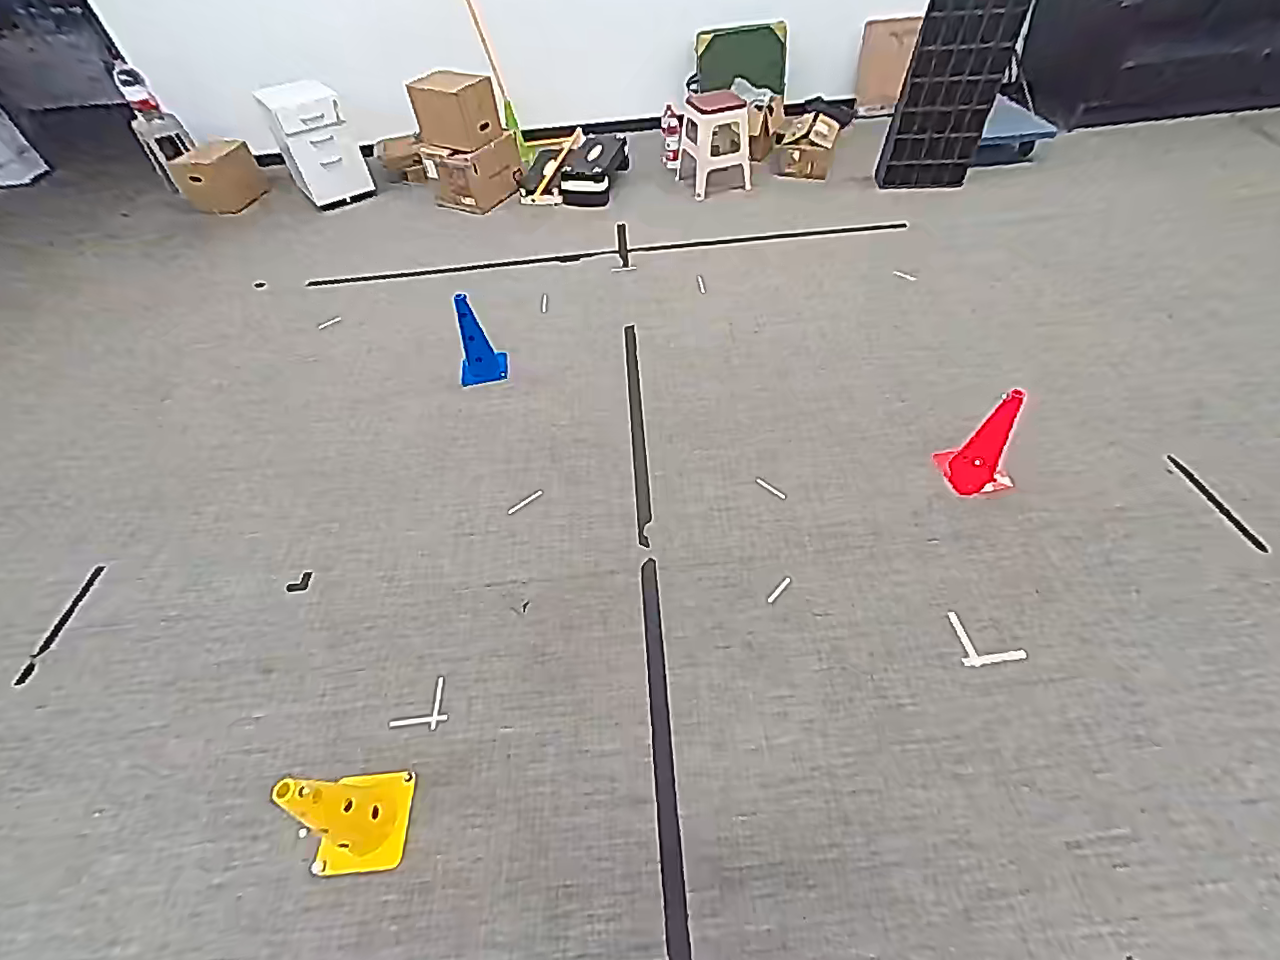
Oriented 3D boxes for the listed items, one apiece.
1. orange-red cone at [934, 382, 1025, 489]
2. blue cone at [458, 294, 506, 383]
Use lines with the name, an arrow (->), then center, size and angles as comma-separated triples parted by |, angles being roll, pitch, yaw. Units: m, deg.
orange-red cone -> 1.129, -0.165, 1.730 | 0.198, 0.360, 0.199 | -9, 48, -3
blue cone -> -0.700, -0.604, 2.272 | 0.192, 0.380, 0.193 | -10, 50, -3
